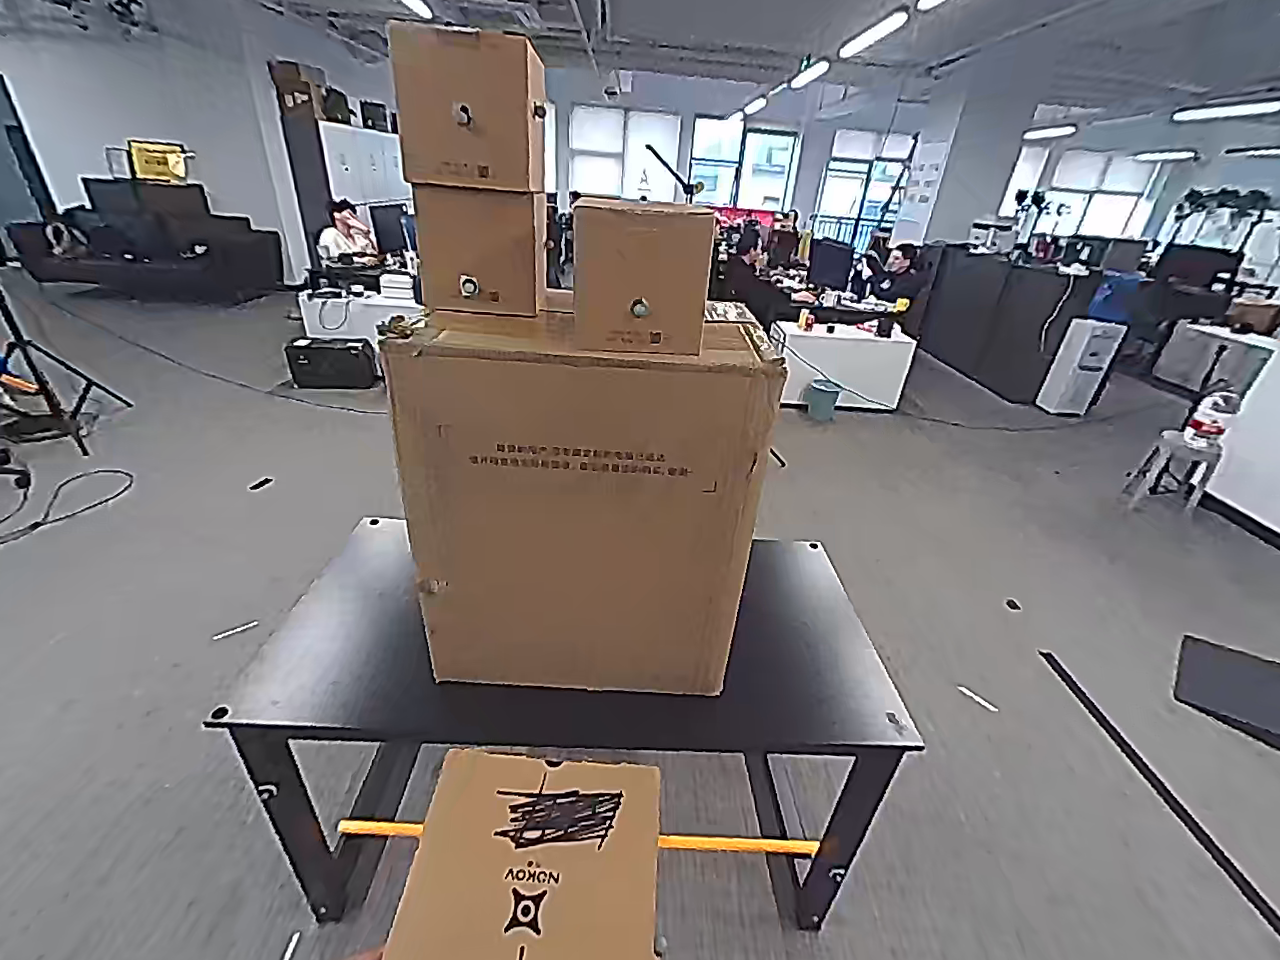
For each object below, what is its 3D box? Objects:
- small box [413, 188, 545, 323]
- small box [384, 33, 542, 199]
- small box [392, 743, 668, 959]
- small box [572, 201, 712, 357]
[{"bbox_3d":[-0.236,-0.352,0.840,0.168,0.176,0.179,1,30,-6],"label":"small box"},{"bbox_3d":[-0.227,-0.489,0.748,0.168,0.176,0.179,2,29,-4],"label":"small box"},{"bbox_3d":[-0.070,0.330,0.409,0.168,0.176,0.179,4,40,1],"label":"small box"},{"bbox_3d":[-0.004,-0.276,0.734,0.168,0.176,0.179,1,30,-3],"label":"small box"}]
